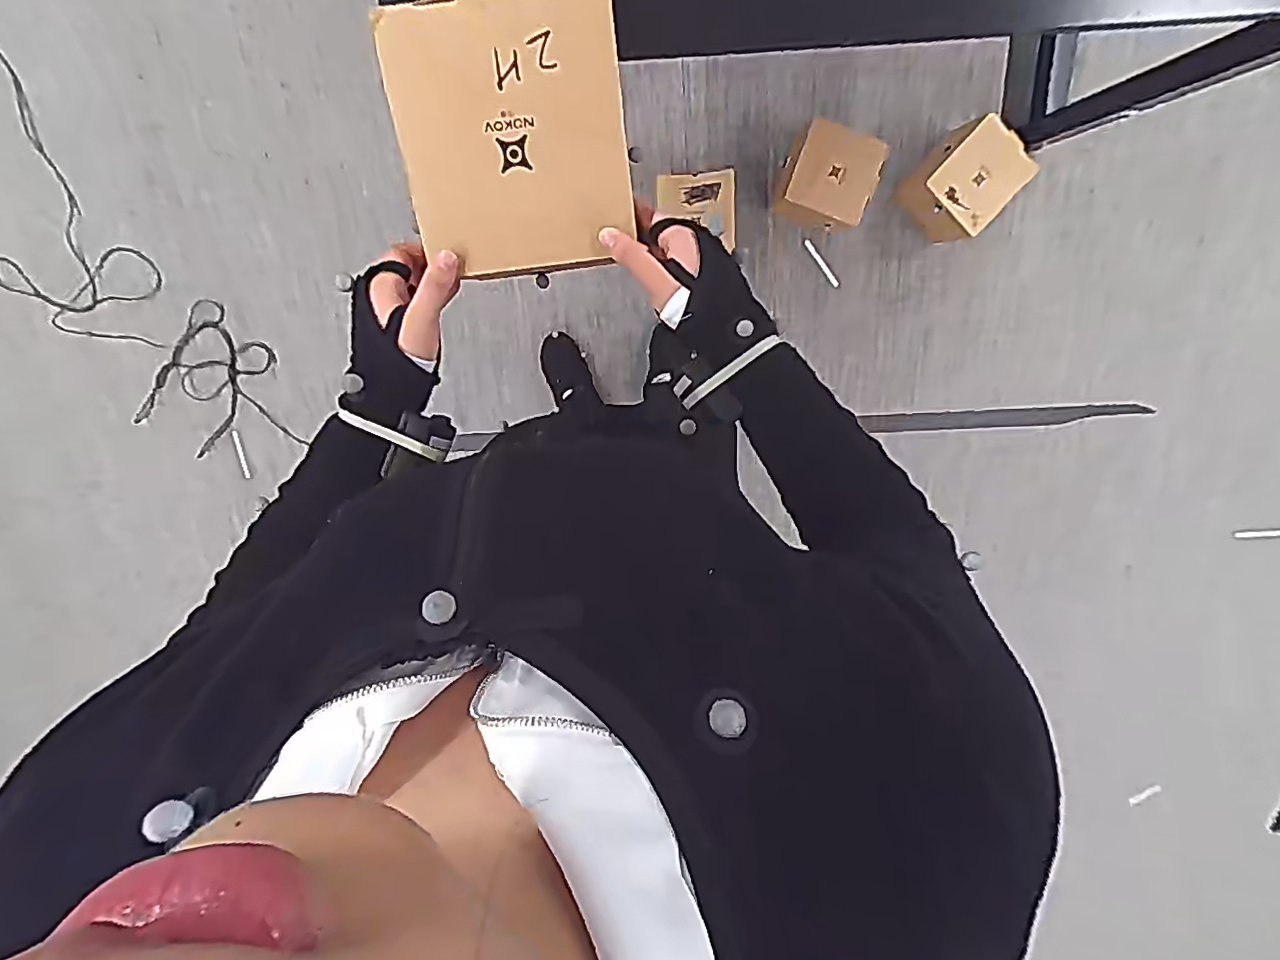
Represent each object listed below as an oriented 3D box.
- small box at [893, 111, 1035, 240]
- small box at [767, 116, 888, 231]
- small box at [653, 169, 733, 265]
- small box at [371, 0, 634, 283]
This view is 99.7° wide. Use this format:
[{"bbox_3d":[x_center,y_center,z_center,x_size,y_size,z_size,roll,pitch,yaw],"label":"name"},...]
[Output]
[{"bbox_3d":[0.710,-0.665,1.207,0.168,0.176,0.179,39,105,-12],"label":"small box"},{"bbox_3d":[0.407,-0.671,1.207,0.179,0.176,0.168,17,108,-5],"label":"small box"},{"bbox_3d":[0.117,-0.592,1.233,0.168,0.176,0.179,-4,111,1],"label":"small box"},{"bbox_3d":[-0.096,-0.274,0.469,0.168,0.176,0.179,-8,110,-1],"label":"small box"}]
